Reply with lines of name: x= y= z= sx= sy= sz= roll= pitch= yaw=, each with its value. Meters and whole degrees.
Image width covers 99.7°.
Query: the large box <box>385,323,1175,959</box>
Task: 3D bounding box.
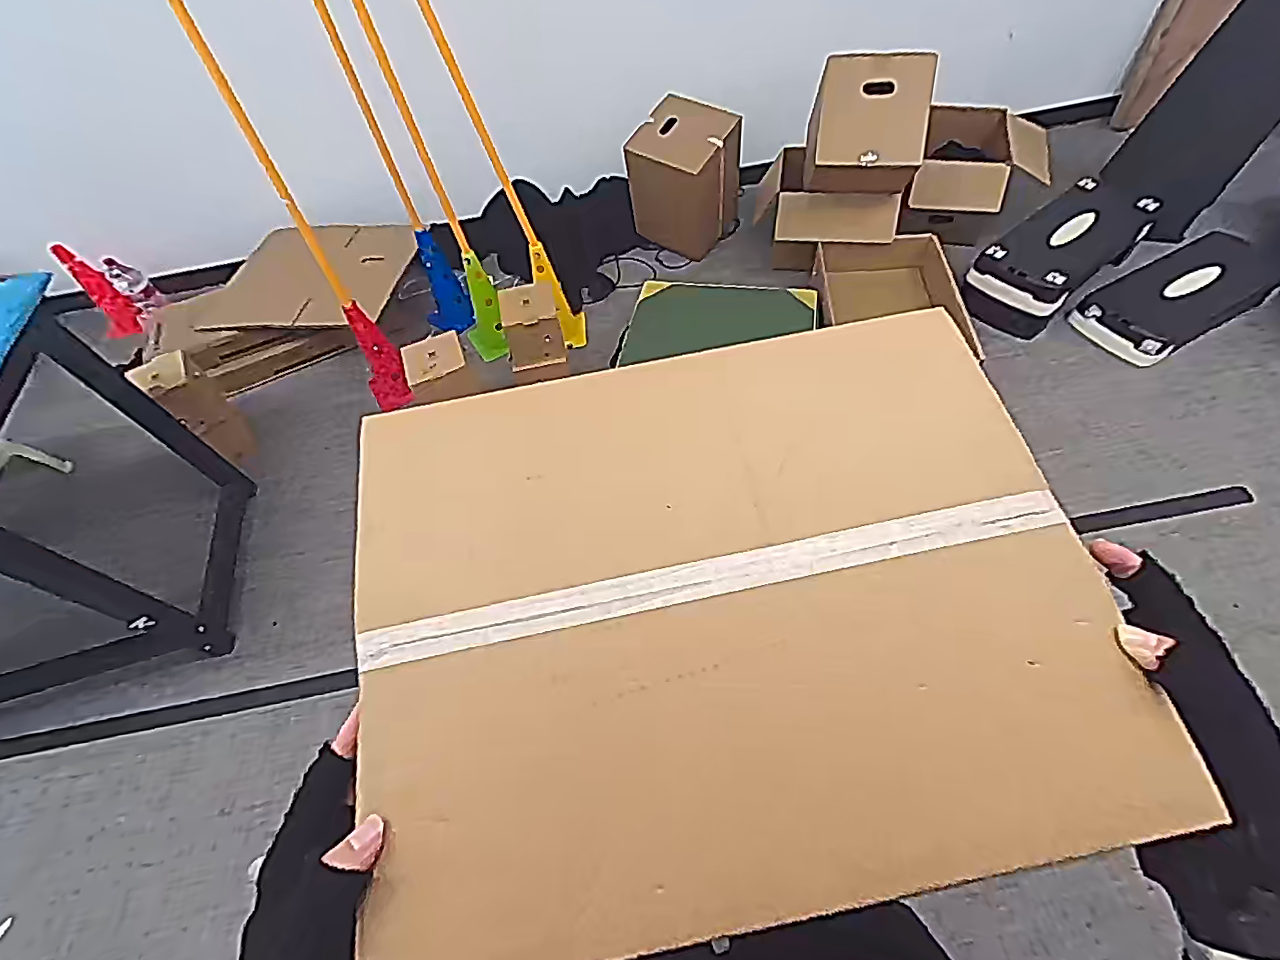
large box: x=0.052 y=0.123 z=0.457 sx=0.408 sy=0.320 sz=0.320 roll=-12 pitch=66 yaw=-2
